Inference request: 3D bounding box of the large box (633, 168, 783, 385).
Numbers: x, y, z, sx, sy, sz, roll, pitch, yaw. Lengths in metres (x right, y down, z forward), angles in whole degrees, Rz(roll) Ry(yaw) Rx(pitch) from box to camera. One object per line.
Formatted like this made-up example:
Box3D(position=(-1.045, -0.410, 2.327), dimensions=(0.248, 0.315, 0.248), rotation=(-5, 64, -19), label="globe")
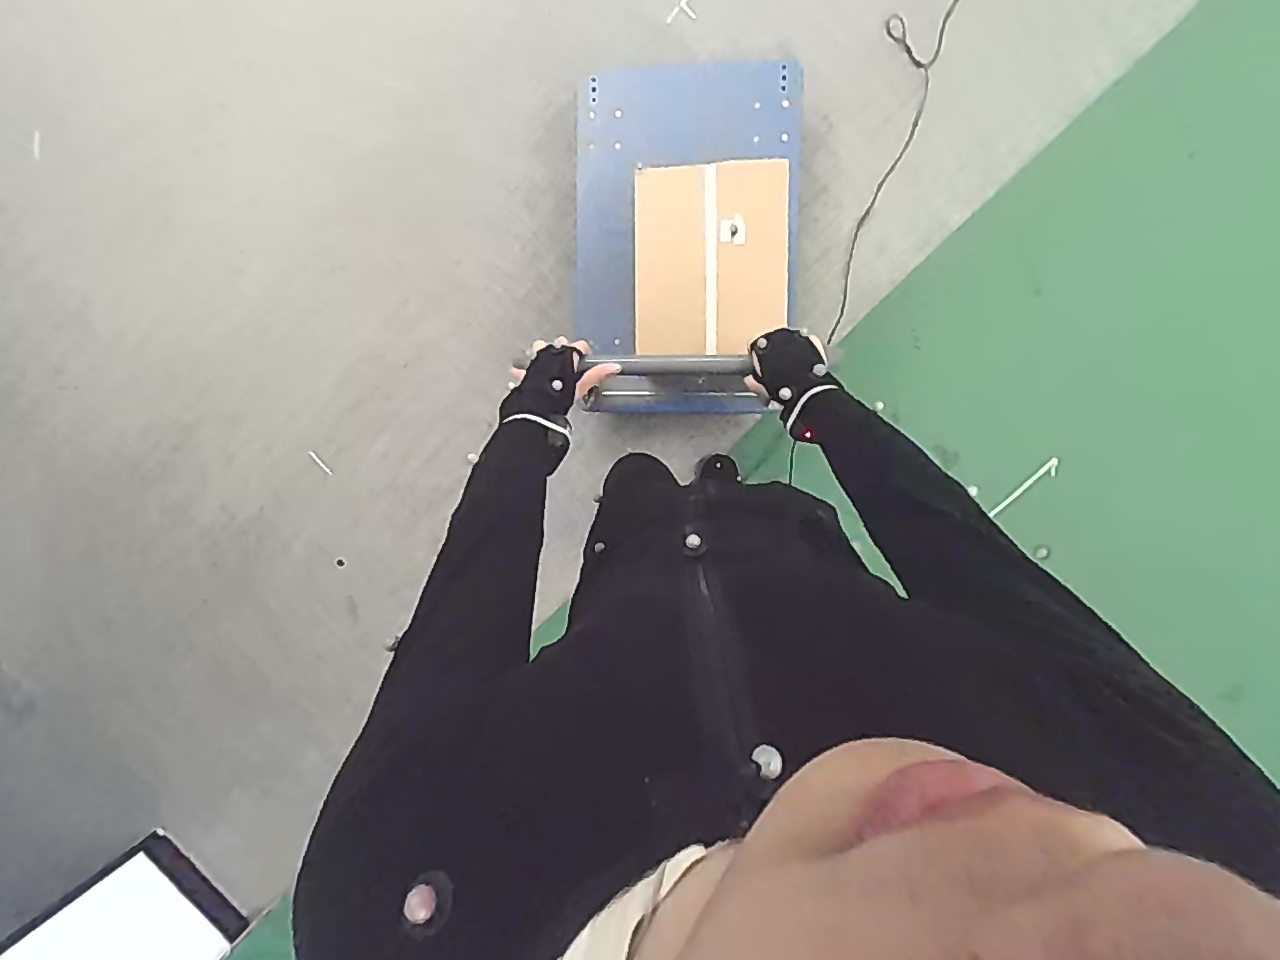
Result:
Box3D(position=(0.159, -0.448, 1.281), dimensions=(0.320, 0.320, 0.408), rotation=(0, 93, 6), label="large box")
